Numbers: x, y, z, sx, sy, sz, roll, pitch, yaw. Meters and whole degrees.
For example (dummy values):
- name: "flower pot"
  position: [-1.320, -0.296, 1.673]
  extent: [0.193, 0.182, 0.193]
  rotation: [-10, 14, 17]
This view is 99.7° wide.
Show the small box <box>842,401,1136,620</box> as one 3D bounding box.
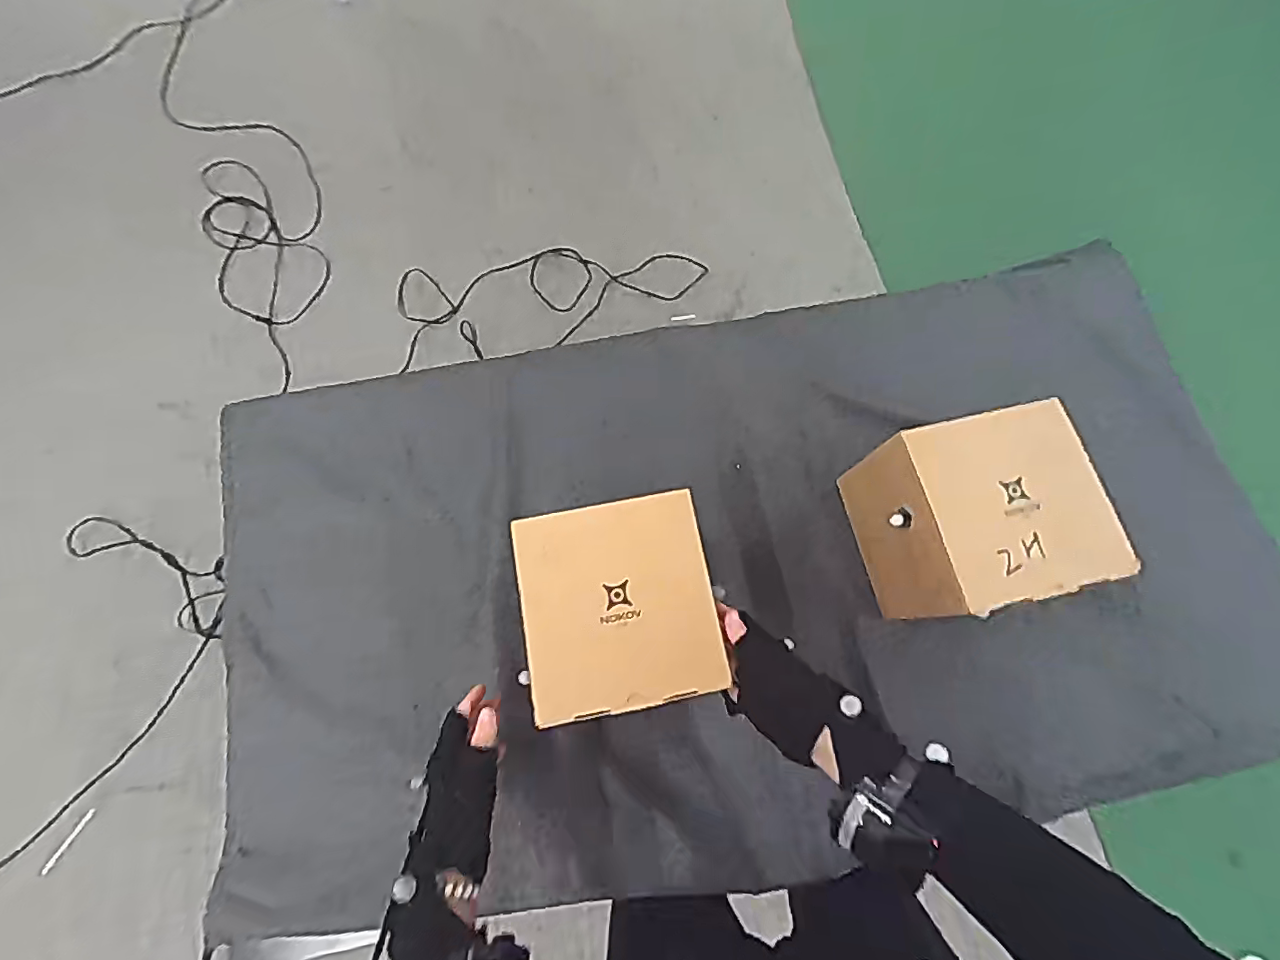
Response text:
- name: "small box"
  position: [0.339, 0.042, 0.569]
  extent: [0.168, 0.176, 0.179]
  rotation: [-12, 75, -4]

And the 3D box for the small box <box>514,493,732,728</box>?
- name: "small box"
  position: [-0.022, 0.128, 0.540]
  extent: [0.168, 0.176, 0.179]
  rotation: [-10, 75, -5]
